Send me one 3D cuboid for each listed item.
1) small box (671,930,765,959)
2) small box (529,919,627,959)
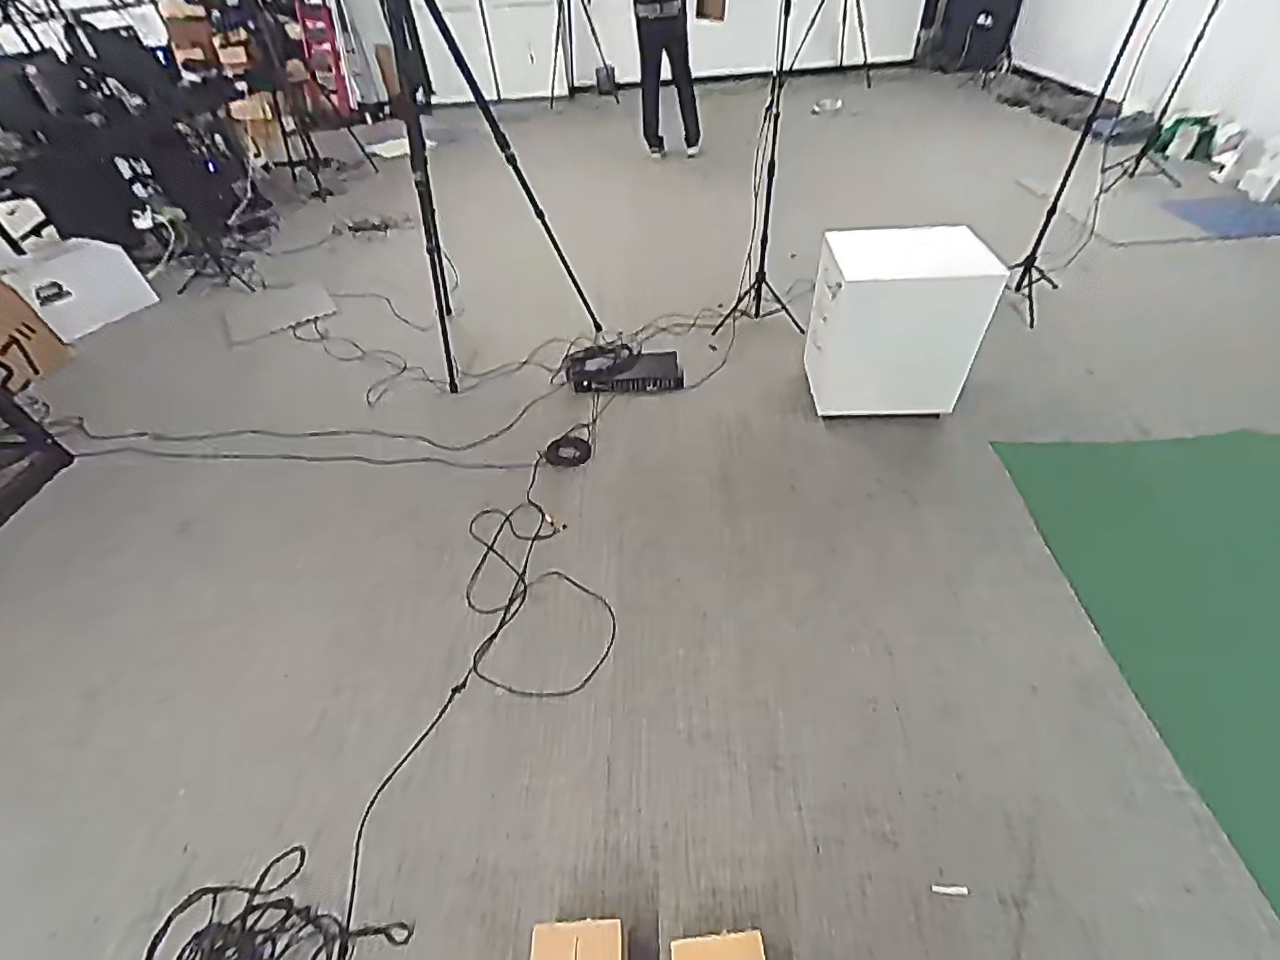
[{"bbox_3d":[0.144,0.932,0.964,0.168,0.176,0.179,-6,46,-1],"label":"small box"},{"bbox_3d":[-0.110,0.928,0.989,0.168,0.176,0.179,-4,45,1],"label":"small box"}]
